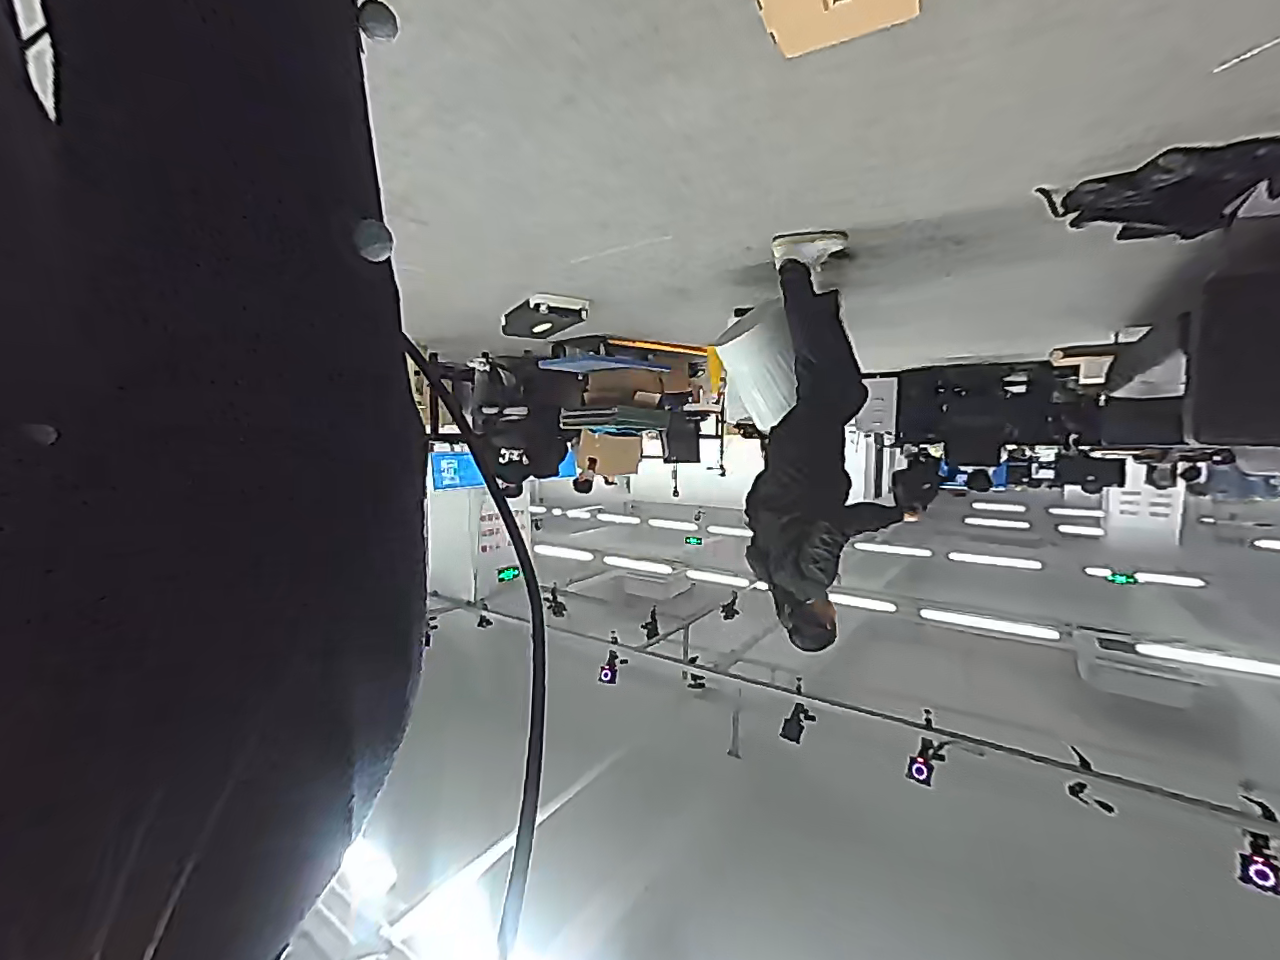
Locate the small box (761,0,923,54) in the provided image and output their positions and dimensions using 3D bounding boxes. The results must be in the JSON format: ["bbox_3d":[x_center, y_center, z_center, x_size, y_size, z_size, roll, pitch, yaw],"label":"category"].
[{"bbox_3d":[0.236,-0.660,0.630,0.179,0.176,0.168,2,-173,28],"label":"small box"}]
